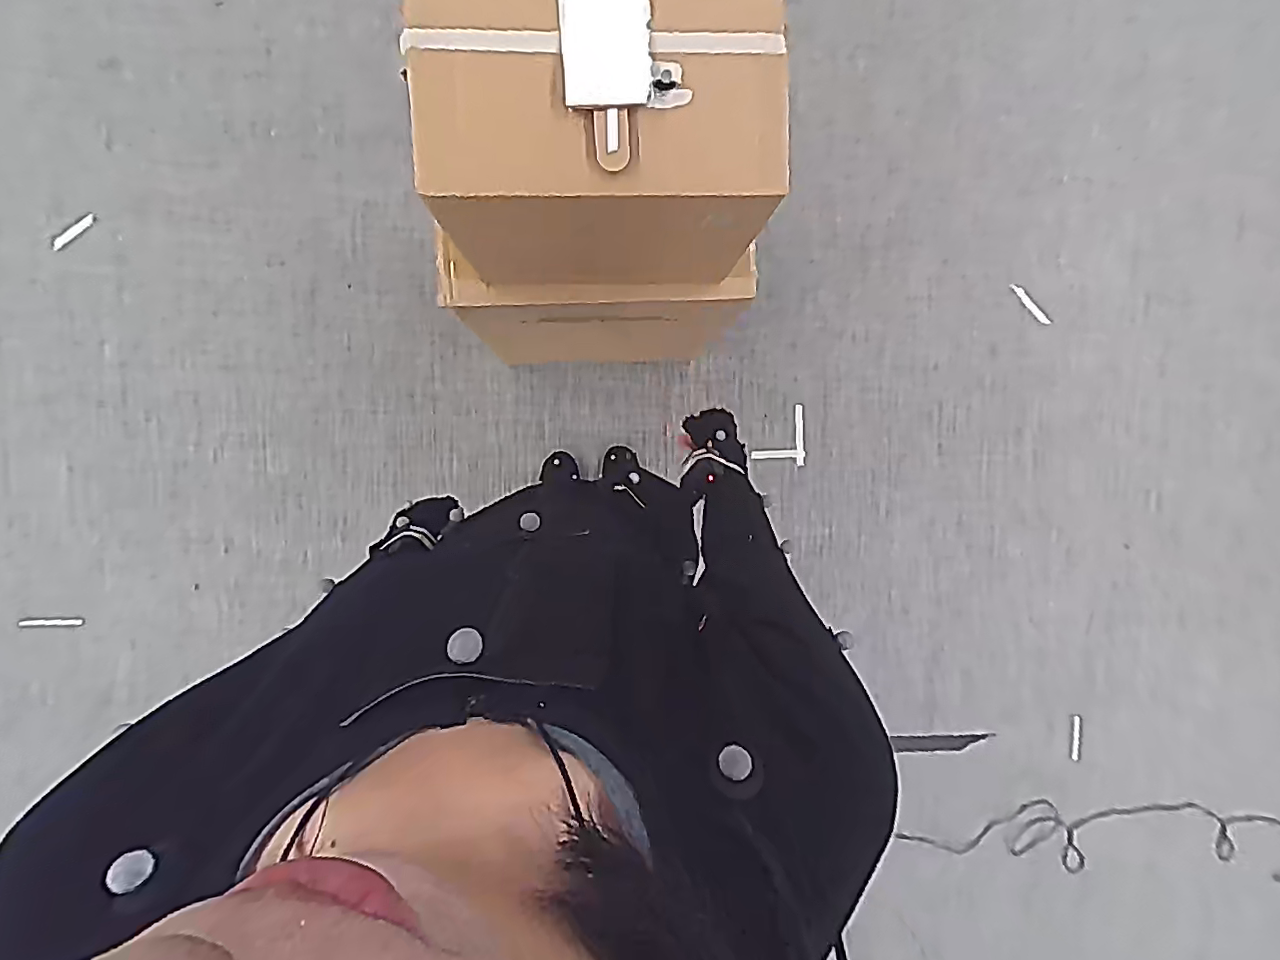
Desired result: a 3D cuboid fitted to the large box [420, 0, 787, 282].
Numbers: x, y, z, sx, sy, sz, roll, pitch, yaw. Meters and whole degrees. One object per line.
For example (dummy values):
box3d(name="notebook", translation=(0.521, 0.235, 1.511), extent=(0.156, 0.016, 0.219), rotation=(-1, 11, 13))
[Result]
box3d(name="large box", translation=(-0.051, -0.479, 0.743), extent=(0.408, 0.320, 0.320), rotation=(-3, 93, -5))
